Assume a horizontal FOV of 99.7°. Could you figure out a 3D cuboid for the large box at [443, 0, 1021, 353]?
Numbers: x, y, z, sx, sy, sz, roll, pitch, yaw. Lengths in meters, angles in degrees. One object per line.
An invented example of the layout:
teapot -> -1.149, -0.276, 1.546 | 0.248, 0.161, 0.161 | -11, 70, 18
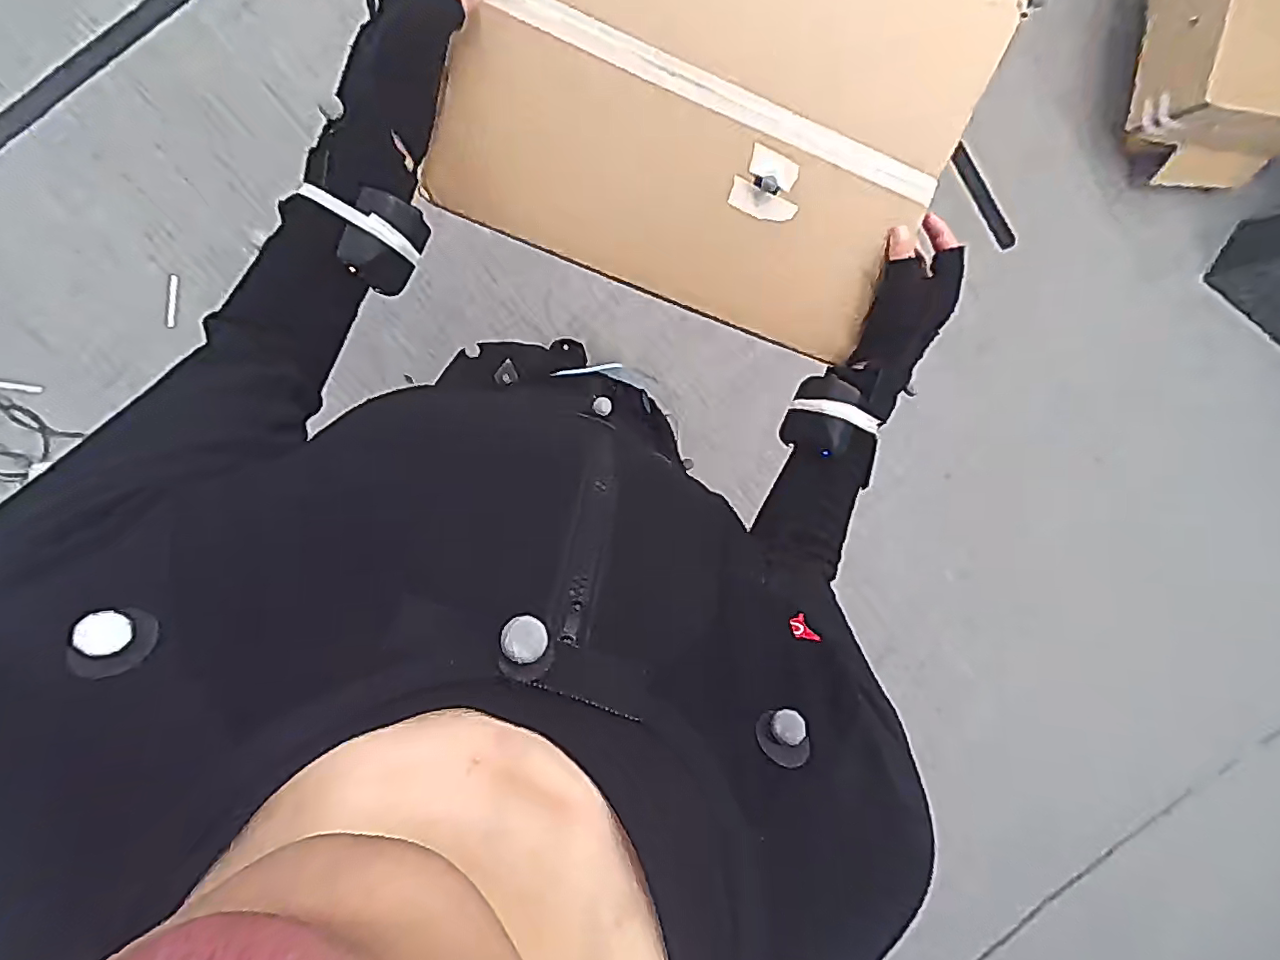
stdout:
large box -> 0.059, -0.368, 0.581 | 0.408, 0.320, 0.320 | 19, 110, -10
